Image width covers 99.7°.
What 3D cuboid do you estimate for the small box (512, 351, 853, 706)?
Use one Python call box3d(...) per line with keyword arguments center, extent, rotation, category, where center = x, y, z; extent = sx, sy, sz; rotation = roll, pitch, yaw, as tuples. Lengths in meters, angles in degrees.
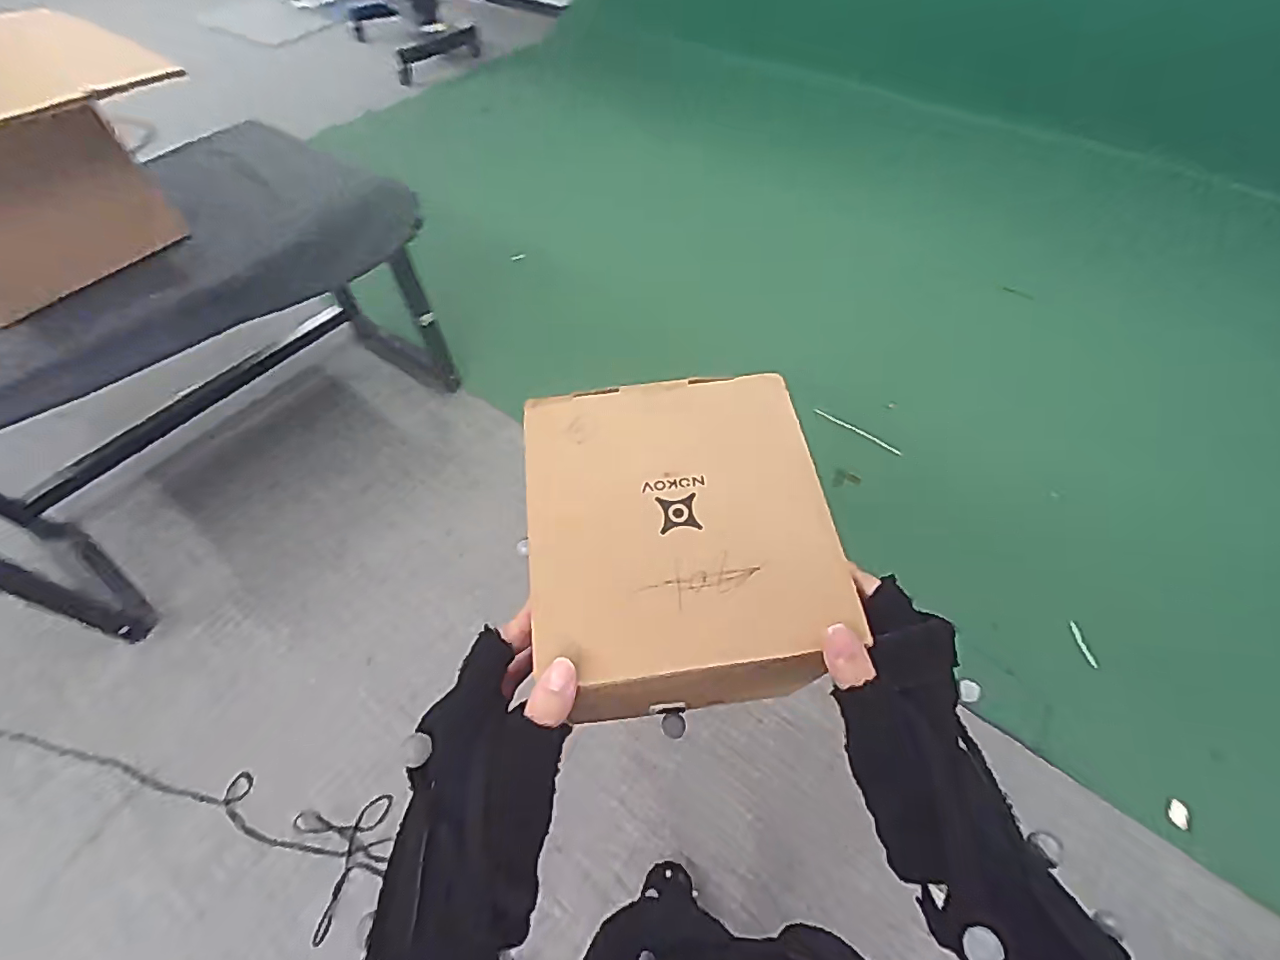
box3d(center=(0.011, 0.040, 0.365), extent=(0.168, 0.176, 0.179), rotation=(-7, 61, -4), category="small box")
